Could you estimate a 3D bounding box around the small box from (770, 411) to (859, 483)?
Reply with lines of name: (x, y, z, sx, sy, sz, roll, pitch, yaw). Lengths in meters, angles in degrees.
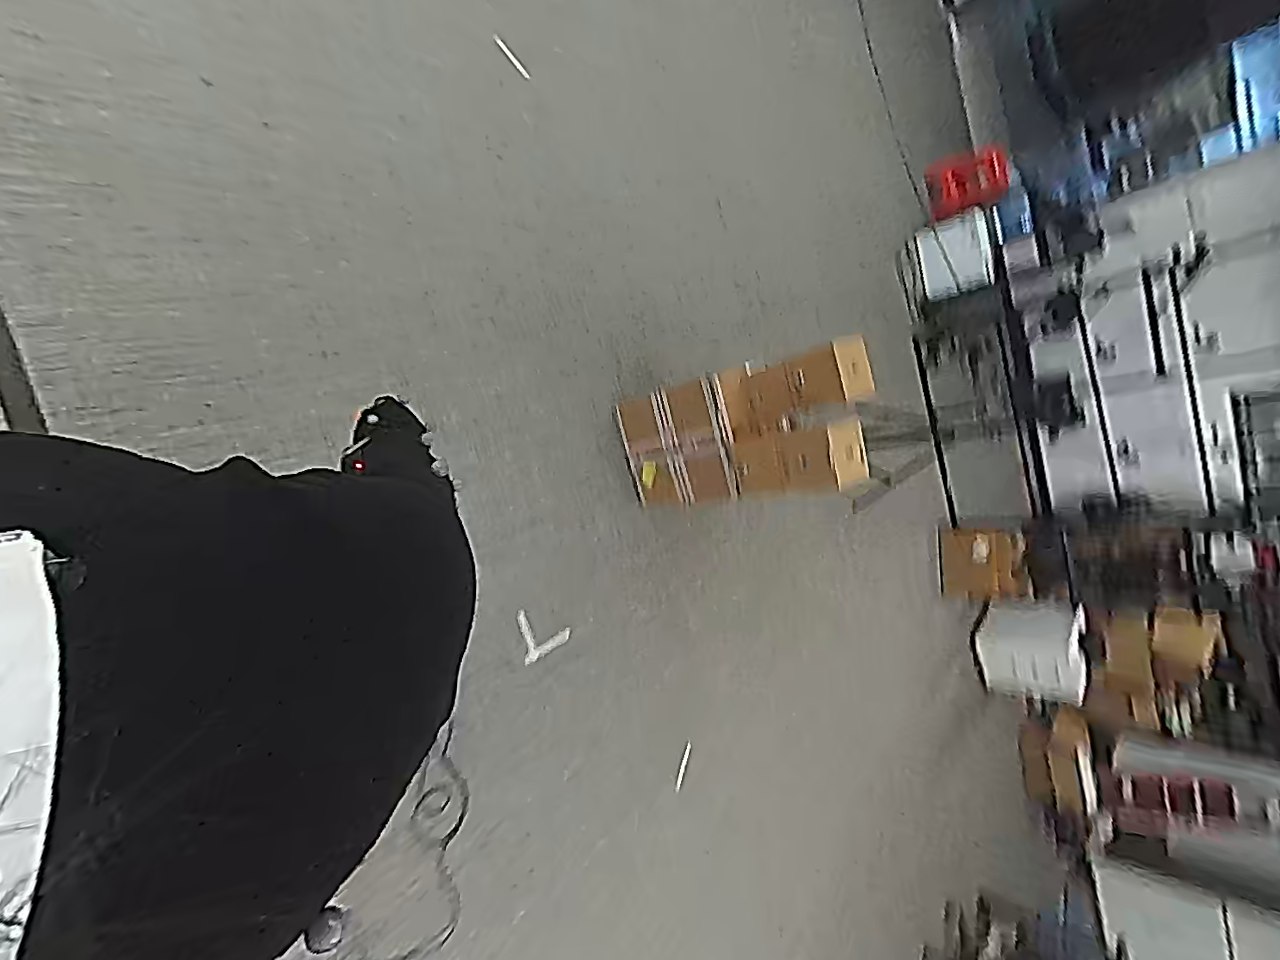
small box: (0.483, -0.091, 1.523, 0.179, 0.176, 0.168, -16, 96, -39)

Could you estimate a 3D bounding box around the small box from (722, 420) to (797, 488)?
small box: (0.378, -0.079, 1.649, 0.179, 0.176, 0.168, -21, 99, -38)

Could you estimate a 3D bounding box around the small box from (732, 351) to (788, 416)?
small box: (0.419, -0.310, 1.709, 0.179, 0.176, 0.168, -20, 96, -39)

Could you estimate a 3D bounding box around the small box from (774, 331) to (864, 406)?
small box: (0.522, -0.326, 1.584, 0.179, 0.176, 0.168, -20, 96, -39)
